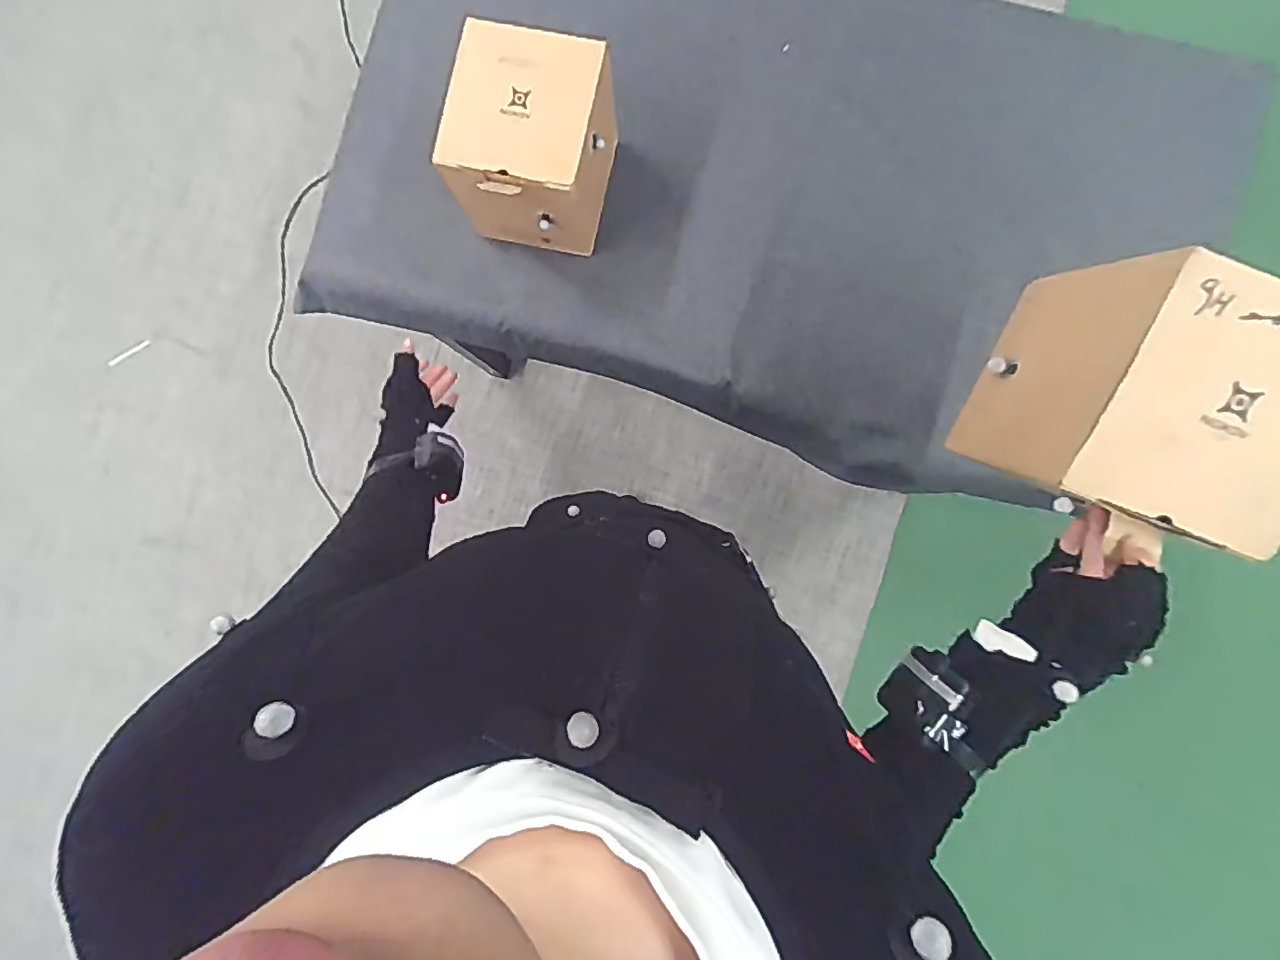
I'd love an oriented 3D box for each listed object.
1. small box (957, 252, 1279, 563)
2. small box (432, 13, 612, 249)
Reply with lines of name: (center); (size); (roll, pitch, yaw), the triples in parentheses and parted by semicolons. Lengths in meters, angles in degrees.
small box: (0.408, -0.063, 0.454); (0.168, 0.176, 0.179); (20, 104, -3)
small box: (-0.133, -0.420, 0.681); (0.168, 0.176, 0.179); (12, 87, 1)
